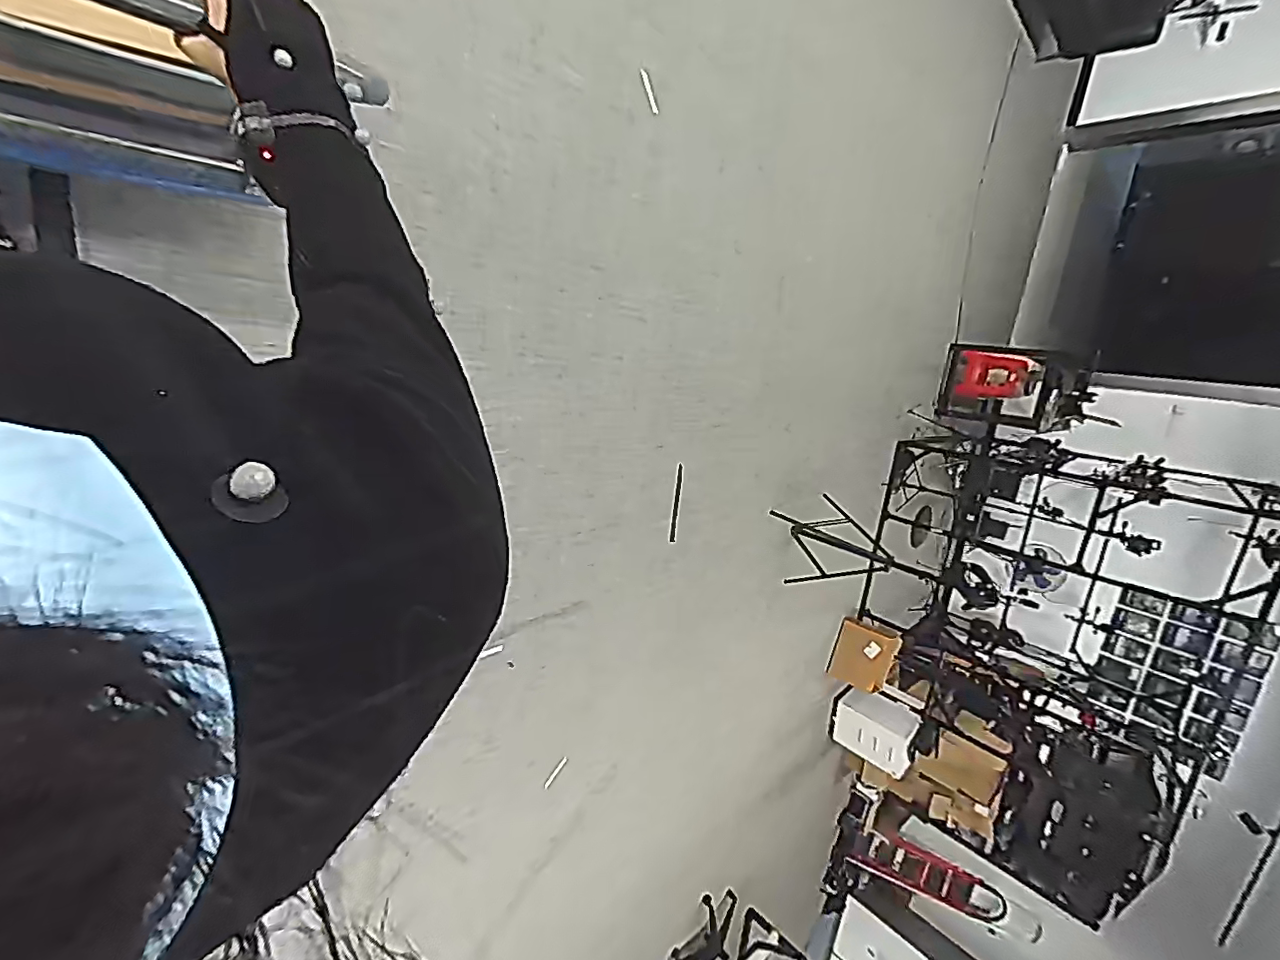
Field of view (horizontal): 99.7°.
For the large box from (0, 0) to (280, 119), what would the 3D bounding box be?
[{"bbox_3d":[-0.765,-0.724,0.706,0.408,0.320,0.320,-15,115,-44],"label":"large box"}]
